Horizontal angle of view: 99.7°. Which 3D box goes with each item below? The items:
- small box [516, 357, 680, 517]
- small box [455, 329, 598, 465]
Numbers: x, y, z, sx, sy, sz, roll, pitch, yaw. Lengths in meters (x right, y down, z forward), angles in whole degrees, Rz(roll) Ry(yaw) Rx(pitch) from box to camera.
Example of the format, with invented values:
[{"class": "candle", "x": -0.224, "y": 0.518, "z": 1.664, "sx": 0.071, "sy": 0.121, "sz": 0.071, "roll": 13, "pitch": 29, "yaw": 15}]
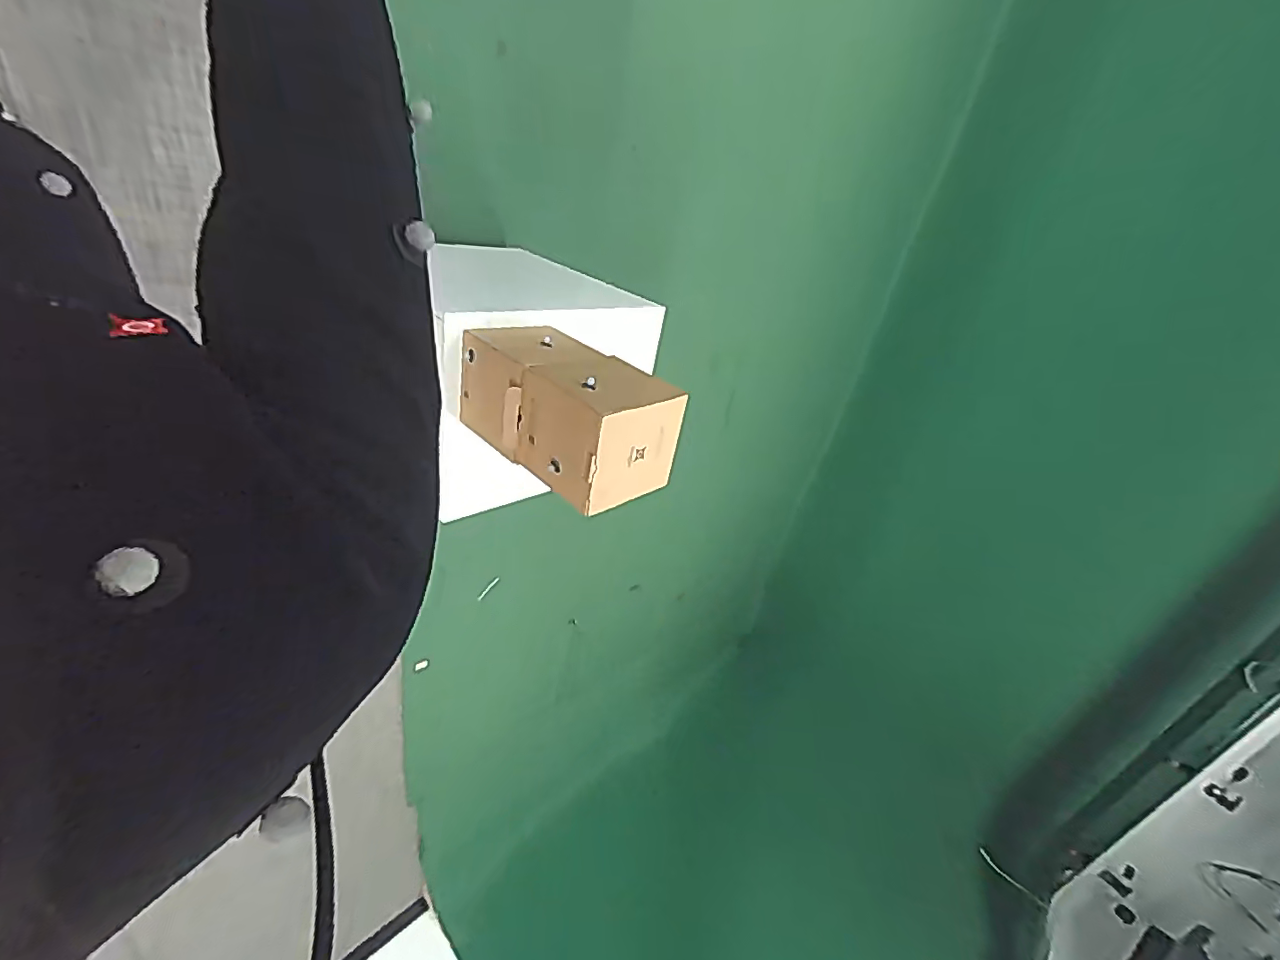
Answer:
[{"class": "small box", "x": -0.071, "y": -0.075, "z": 0.826, "sx": 0.179, "sy": 0.176, "sz": 0.168, "roll": -23, "pitch": 136, "yaw": -43}, {"class": "small box", "x": -0.191, "y": -0.148, "z": 0.908, "sx": 0.179, "sy": 0.176, "sz": 0.168, "roll": -20, "pitch": 133, "yaw": -44}]
